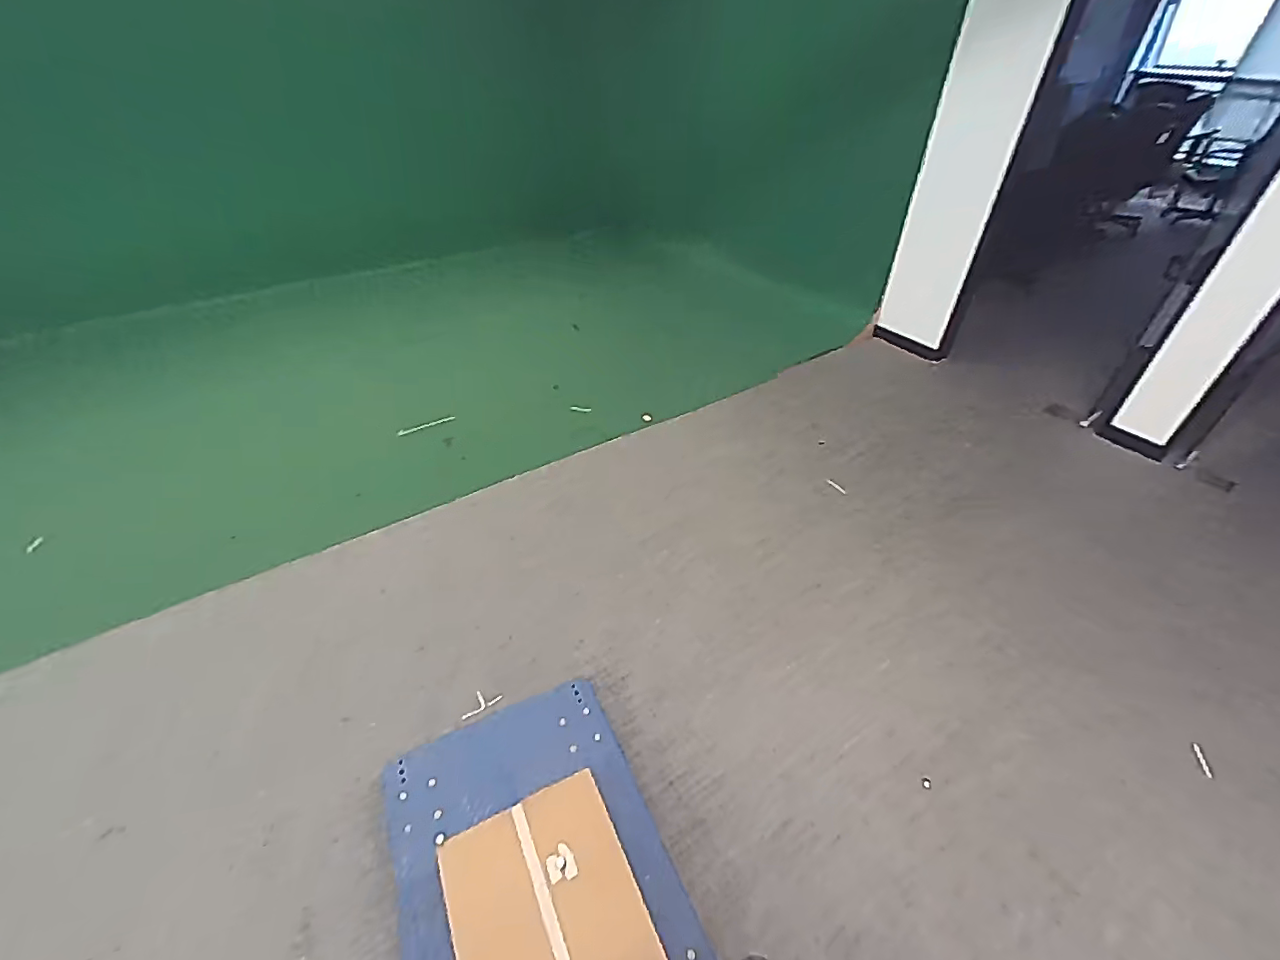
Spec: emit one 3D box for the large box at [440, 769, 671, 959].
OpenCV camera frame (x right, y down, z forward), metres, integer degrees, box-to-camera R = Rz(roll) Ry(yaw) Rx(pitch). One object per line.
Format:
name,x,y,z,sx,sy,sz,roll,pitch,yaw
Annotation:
large box,-0.150,0.872,1.035,0.320,0.320,0.408,-18,43,-20
